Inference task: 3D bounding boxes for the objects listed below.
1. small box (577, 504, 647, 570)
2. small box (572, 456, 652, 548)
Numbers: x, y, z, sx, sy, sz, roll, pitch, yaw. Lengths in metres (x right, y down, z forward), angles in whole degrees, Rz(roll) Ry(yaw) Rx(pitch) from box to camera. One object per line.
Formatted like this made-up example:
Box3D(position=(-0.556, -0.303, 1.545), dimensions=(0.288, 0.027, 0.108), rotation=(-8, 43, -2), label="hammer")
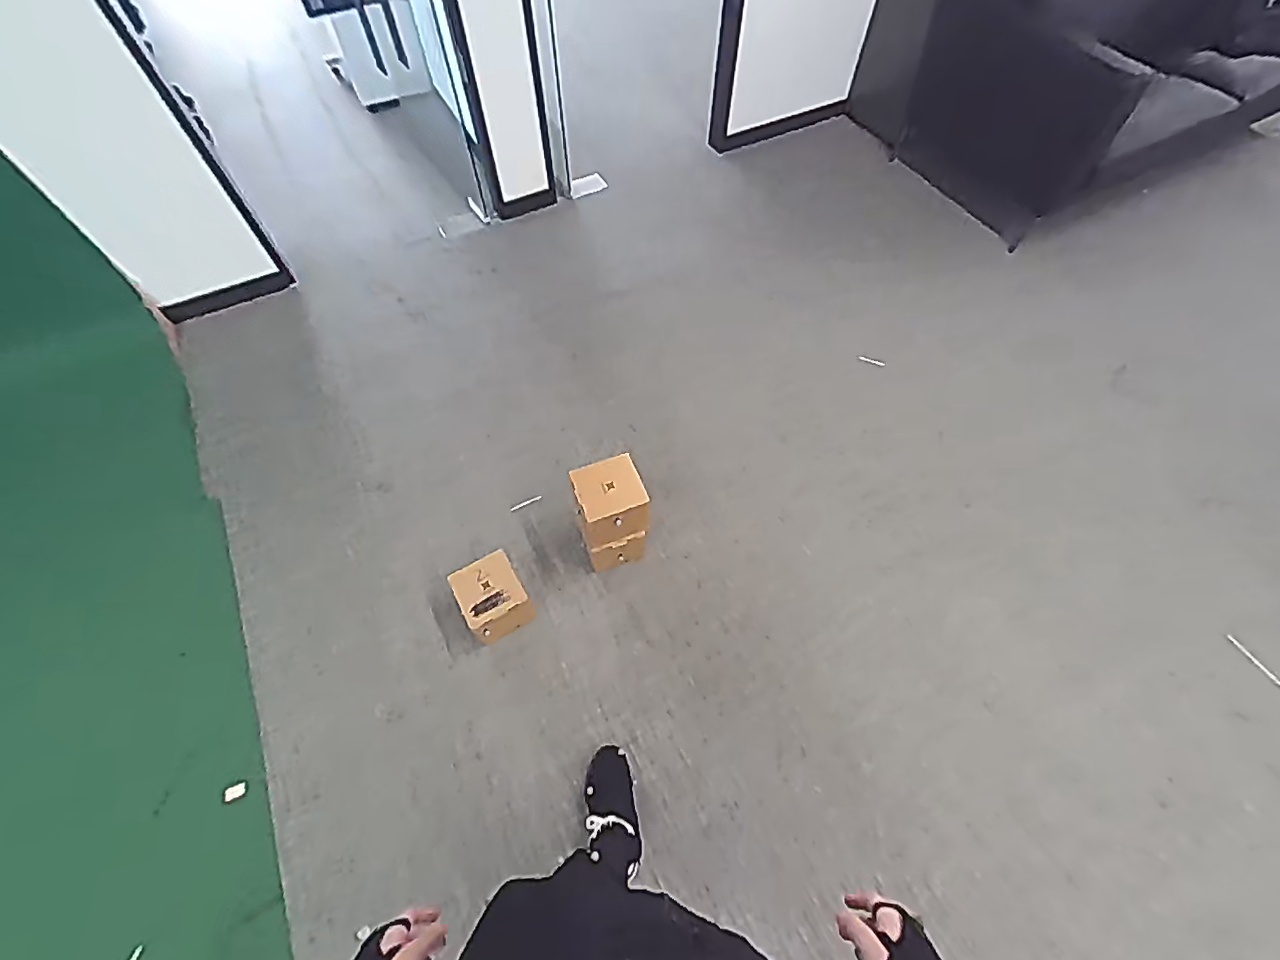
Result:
Box3D(position=(-0.082, 0.156, 1.634), dimensions=(0.168, 0.176, 0.179), rotation=(-18, 62, -11), label="small box")
Box3D(position=(-0.077, 0.064, 1.500), dimensions=(0.179, 0.176, 0.168), rotation=(-20, 62, -10), label="small box")
